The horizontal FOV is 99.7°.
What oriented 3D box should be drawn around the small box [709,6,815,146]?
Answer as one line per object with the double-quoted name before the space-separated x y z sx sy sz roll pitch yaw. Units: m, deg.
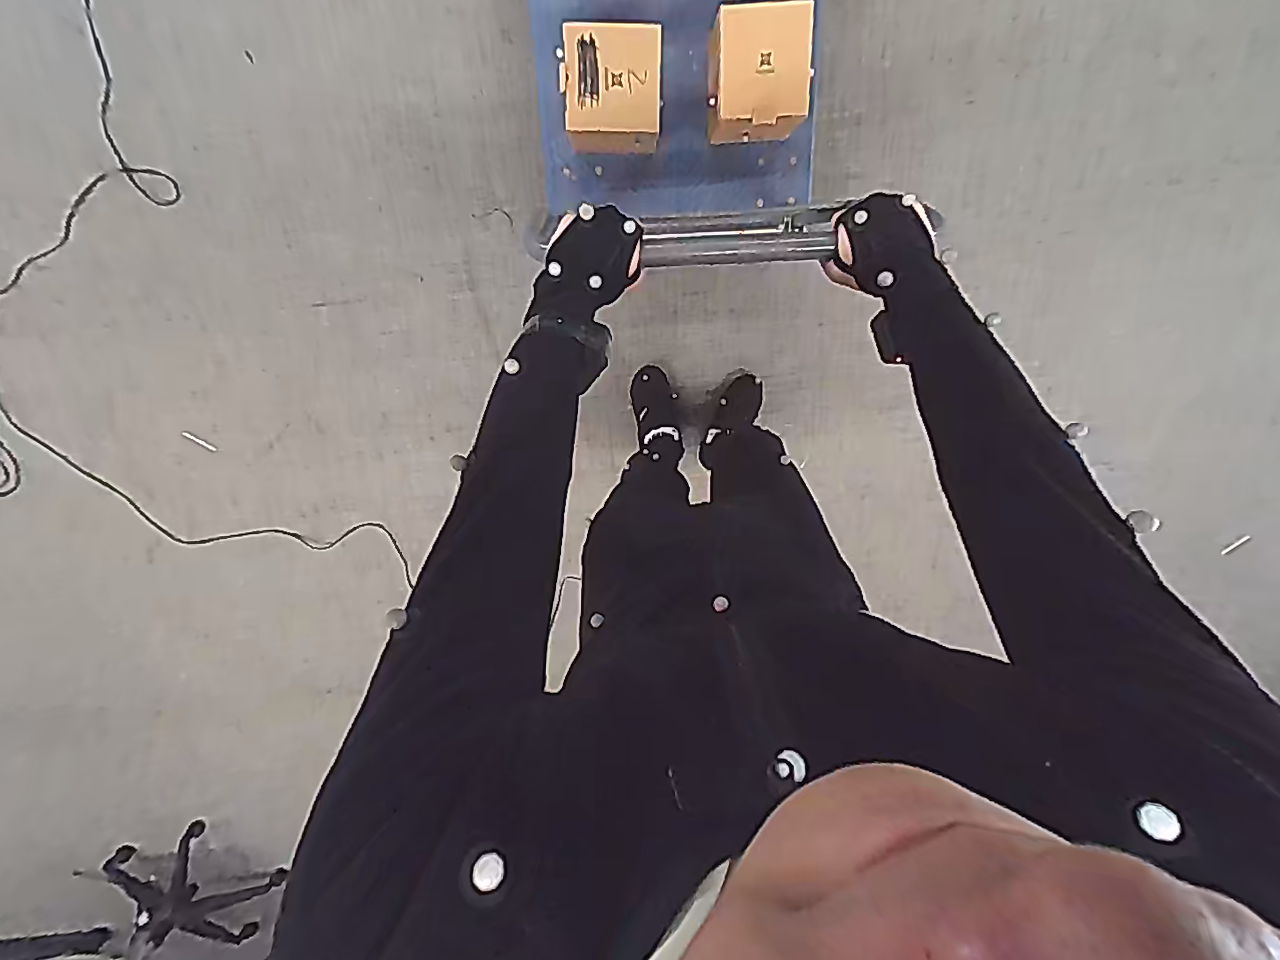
"small box" 0.227 -0.770 1.047 0.168 0.176 0.179 -3 110 0
